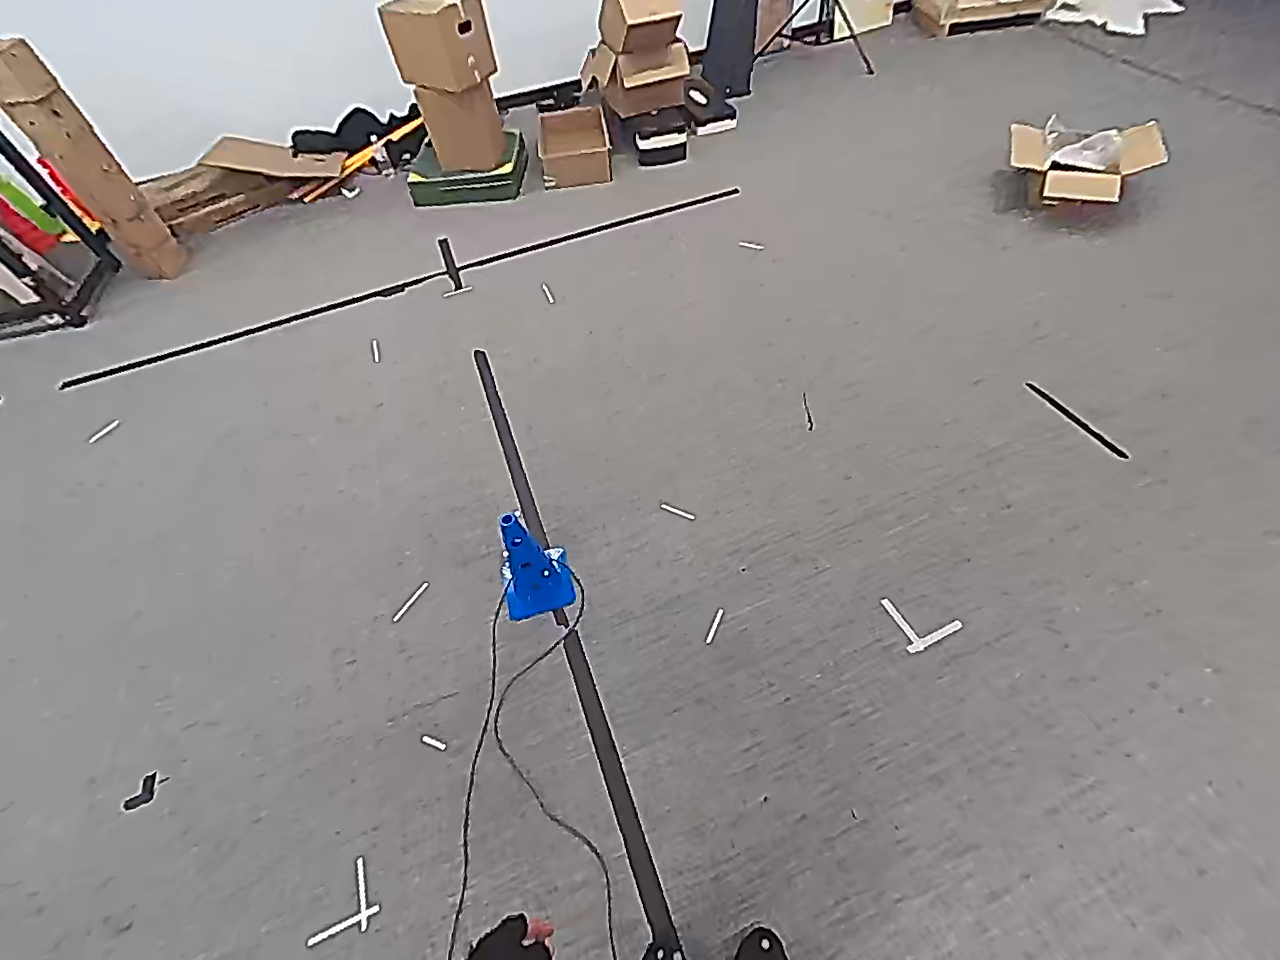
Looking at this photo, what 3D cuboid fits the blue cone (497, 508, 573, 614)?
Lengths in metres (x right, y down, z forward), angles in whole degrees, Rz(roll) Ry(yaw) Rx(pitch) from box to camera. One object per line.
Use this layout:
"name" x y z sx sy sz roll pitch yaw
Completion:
"blue cone" -0.316 0.199 1.472 0.193 0.380 0.192 -18 54 -7
